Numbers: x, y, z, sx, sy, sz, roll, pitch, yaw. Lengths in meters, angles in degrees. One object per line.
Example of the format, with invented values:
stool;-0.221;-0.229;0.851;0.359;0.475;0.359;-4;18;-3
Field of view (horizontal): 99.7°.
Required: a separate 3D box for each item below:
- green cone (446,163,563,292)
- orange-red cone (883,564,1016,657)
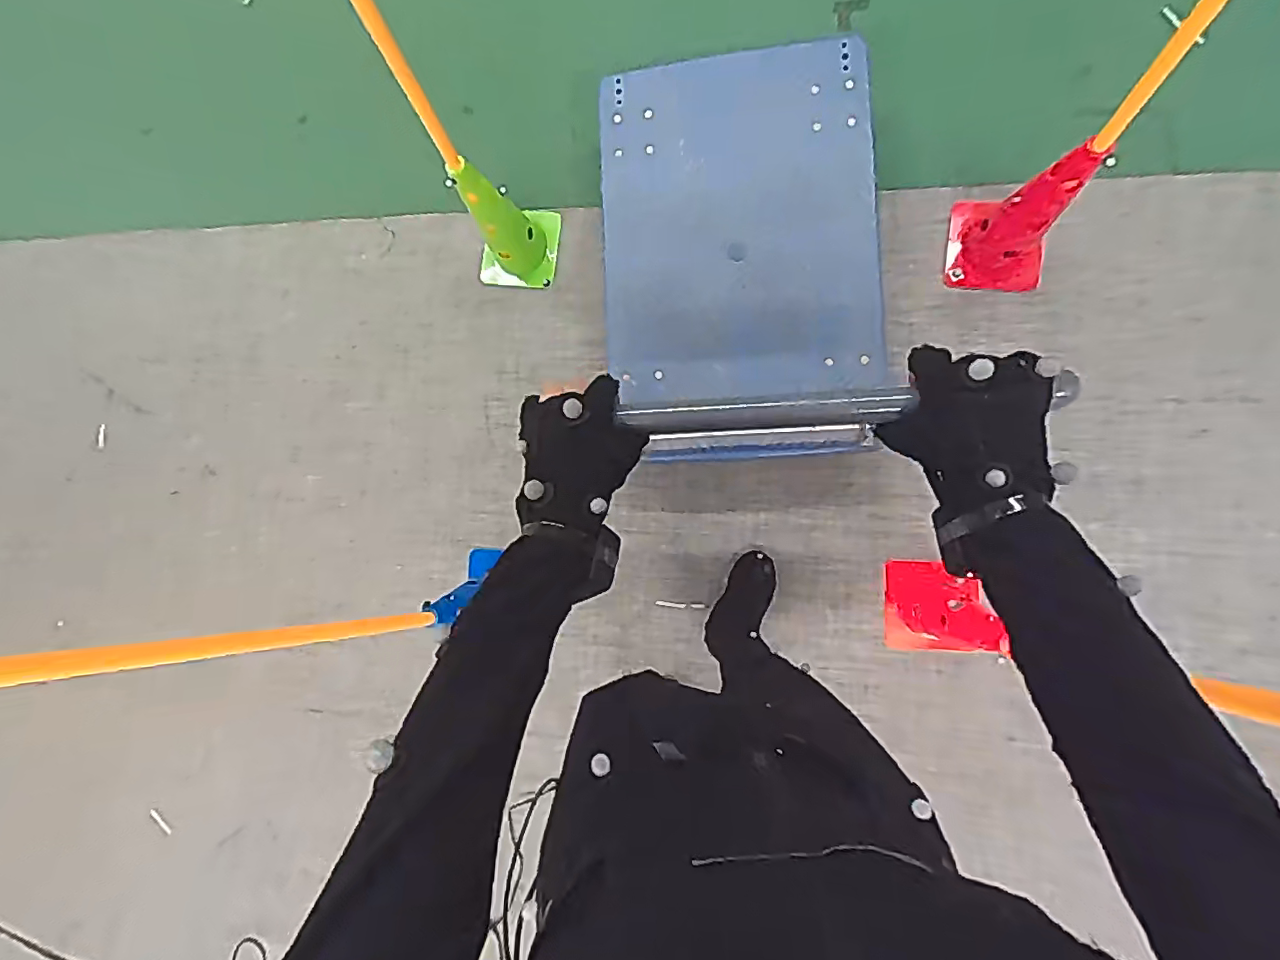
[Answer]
green cone;-0.333;-0.604;1.248;0.202;0.368;0.200;7;88;10
orange-red cone;0.625;0.284;1.056;0.199;0.360;0.198;1;87;11
